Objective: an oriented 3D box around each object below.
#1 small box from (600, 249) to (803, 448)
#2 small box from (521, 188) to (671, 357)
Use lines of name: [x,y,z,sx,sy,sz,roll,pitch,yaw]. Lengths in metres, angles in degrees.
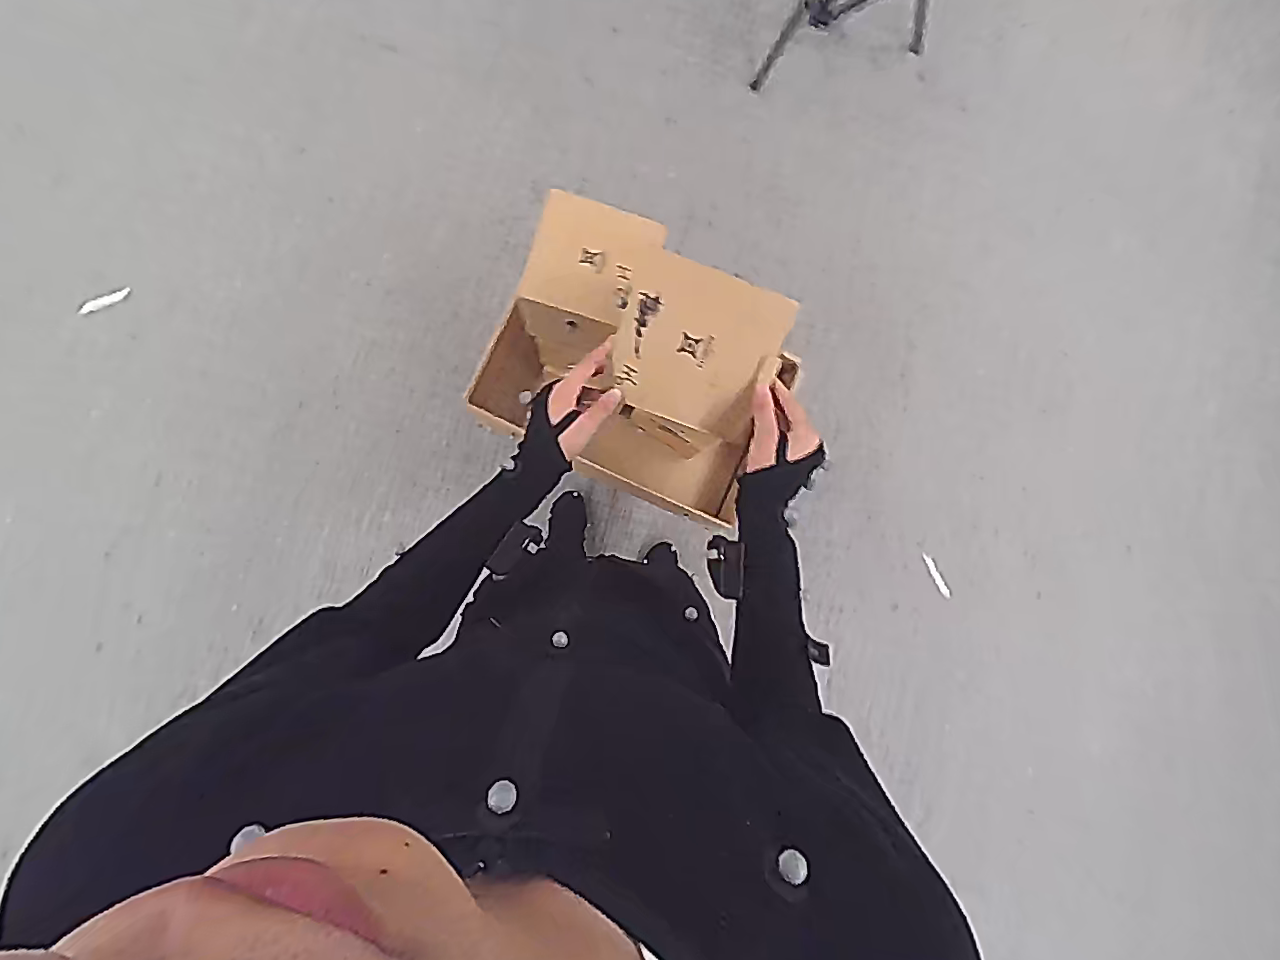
small box: [0.066,-0.159,0.656,0.179,0.176,0.168,20,105,-4]
small box: [-0.069,-0.303,0.834,0.179,0.176,0.168,17,86,-6]
